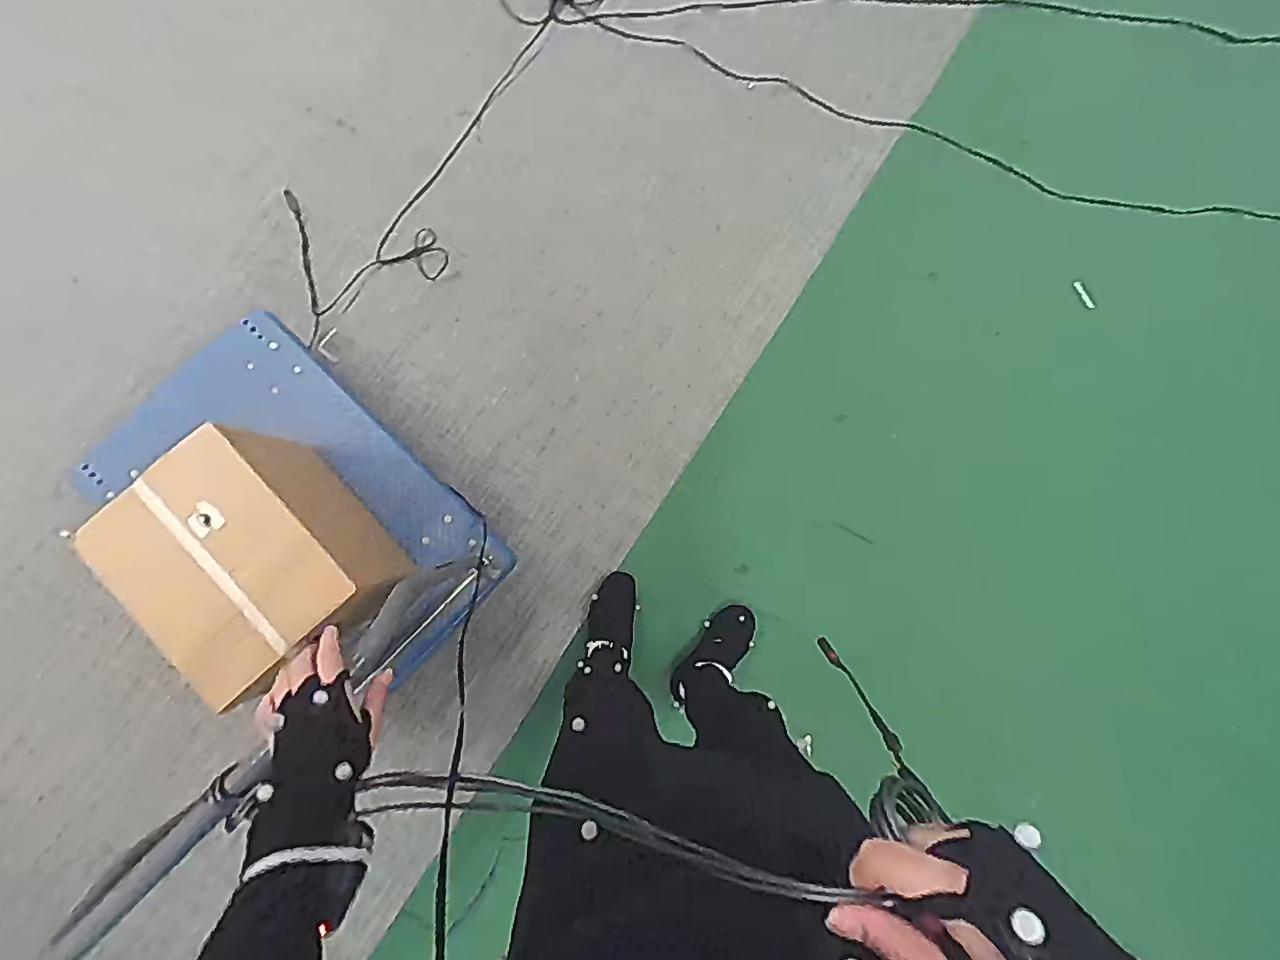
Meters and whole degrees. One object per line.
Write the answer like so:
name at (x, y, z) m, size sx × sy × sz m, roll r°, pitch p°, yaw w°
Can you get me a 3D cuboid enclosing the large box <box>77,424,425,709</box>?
large box at (-0.721, 0.156, 1.073) m, size 0.320 × 0.320 × 0.408 m, roll -42°, pitch 87°, yaw -5°
